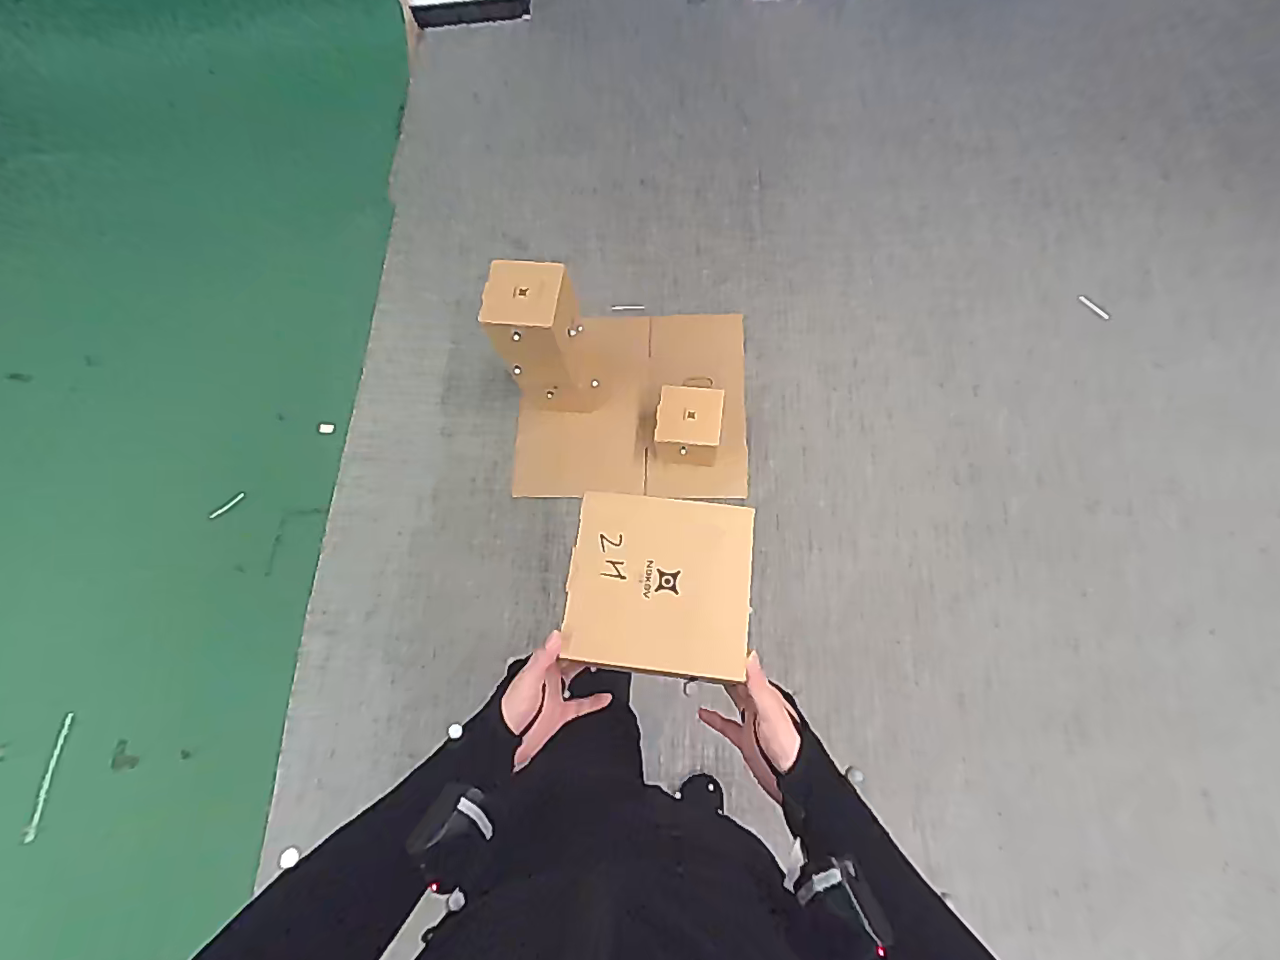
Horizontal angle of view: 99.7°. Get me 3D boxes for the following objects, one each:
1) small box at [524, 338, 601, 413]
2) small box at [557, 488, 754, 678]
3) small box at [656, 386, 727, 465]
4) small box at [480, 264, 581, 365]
[{"bbox_3d":[-0.224,-0.309,1.610,0.179,0.176,0.168,4,73,7],"label":"small box"},{"bbox_3d":[0.022,0.121,0.598,0.179,0.176,0.168,6,69,6],"label":"small box"},{"bbox_3d":[0.148,-0.147,1.521,0.179,0.176,0.168,5,73,9],"label":"small box"},{"bbox_3d":[-0.254,-0.390,1.294,0.179,0.176,0.168,6,74,8],"label":"small box"}]
